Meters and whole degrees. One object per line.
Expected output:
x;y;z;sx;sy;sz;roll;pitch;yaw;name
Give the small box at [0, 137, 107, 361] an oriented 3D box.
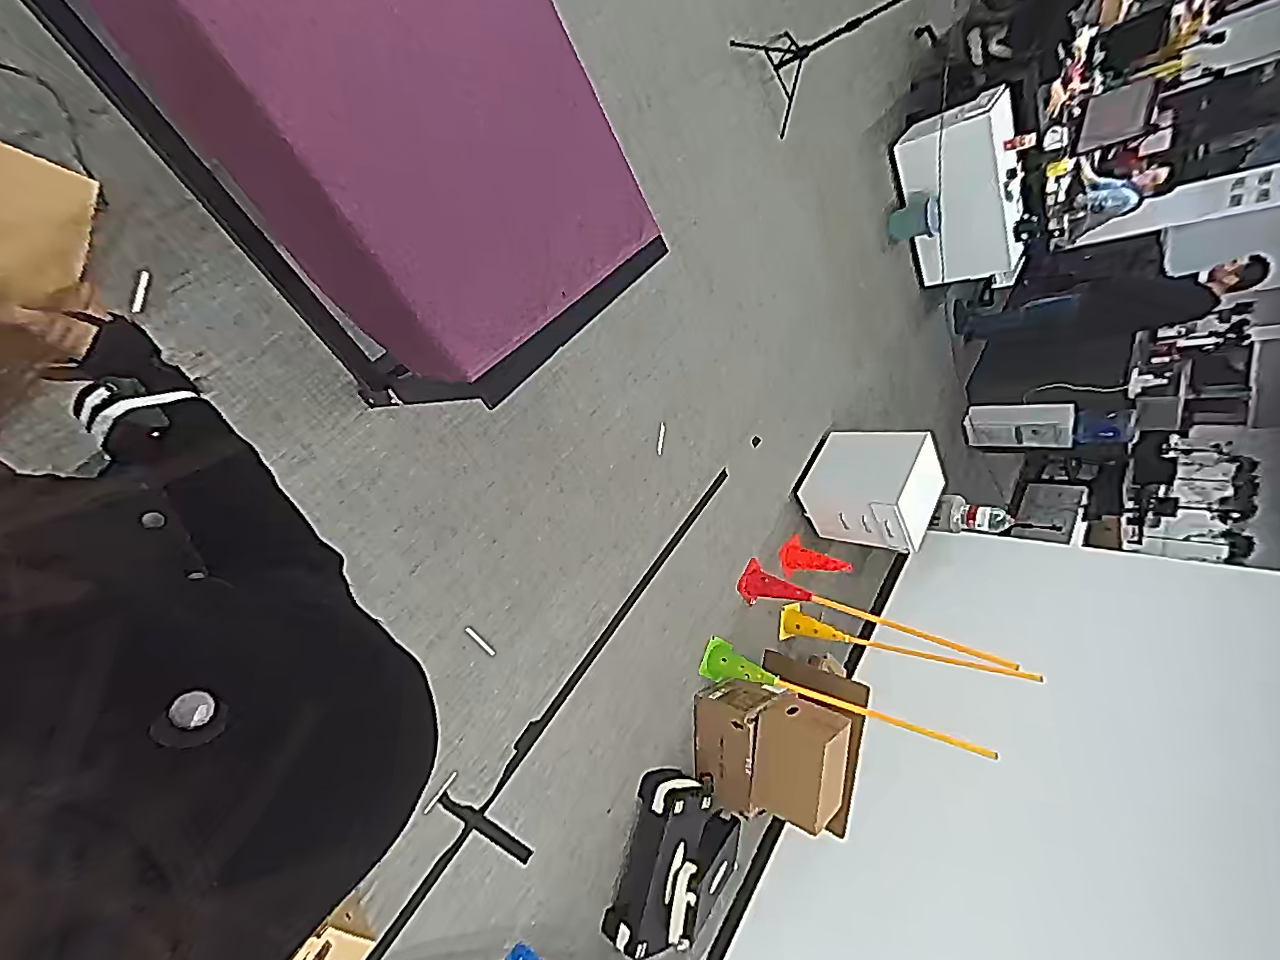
-0.624;-0.216;0.484;0.168;0.176;0.179;11;89;-55;small box
